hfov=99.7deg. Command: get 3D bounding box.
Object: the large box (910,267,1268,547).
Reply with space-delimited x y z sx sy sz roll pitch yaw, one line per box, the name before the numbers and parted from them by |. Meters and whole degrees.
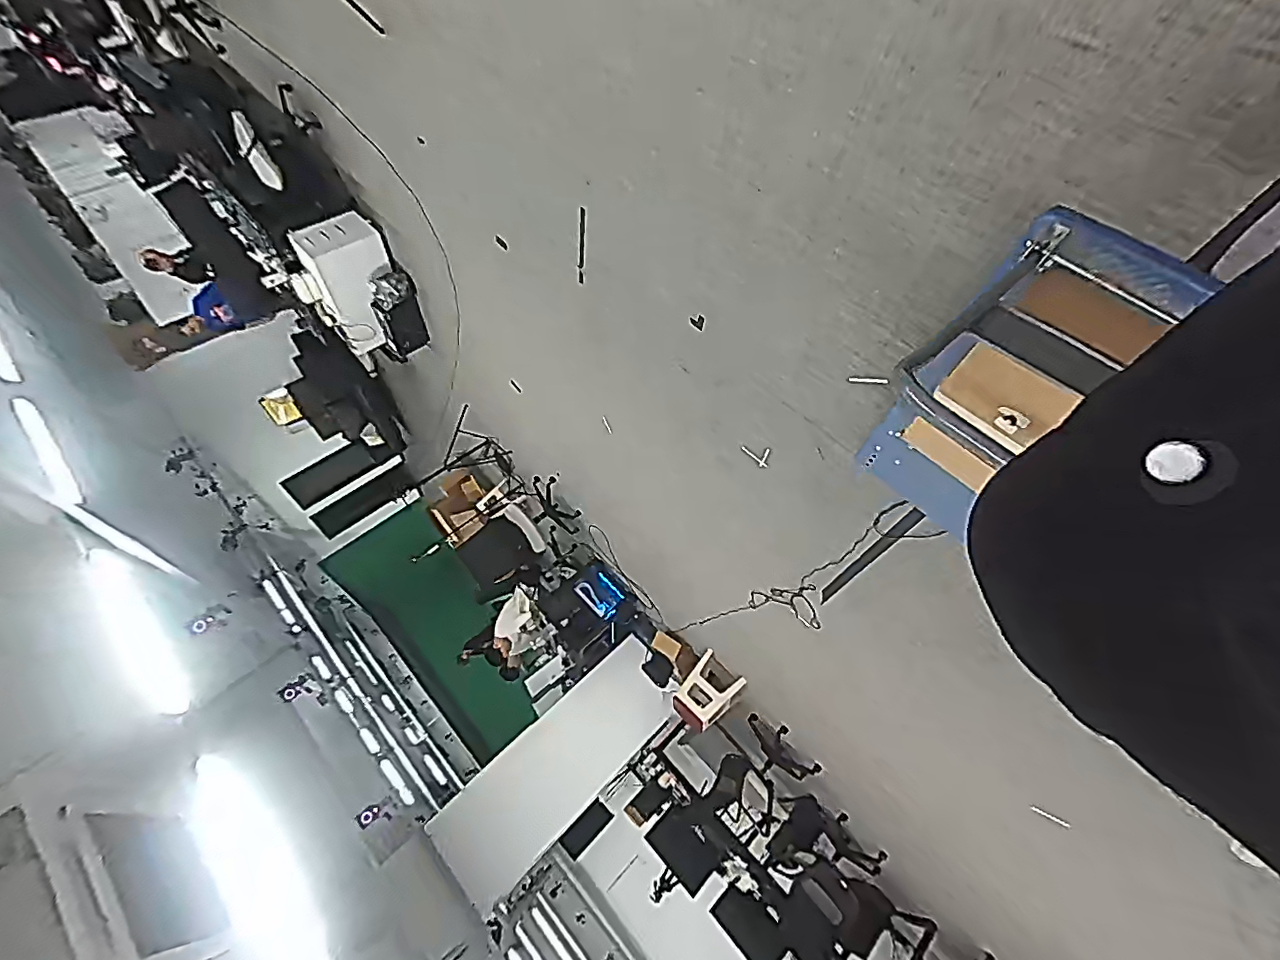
large box | 0.865 -0.149 1.089 0.408 0.320 0.320 44 153 20
